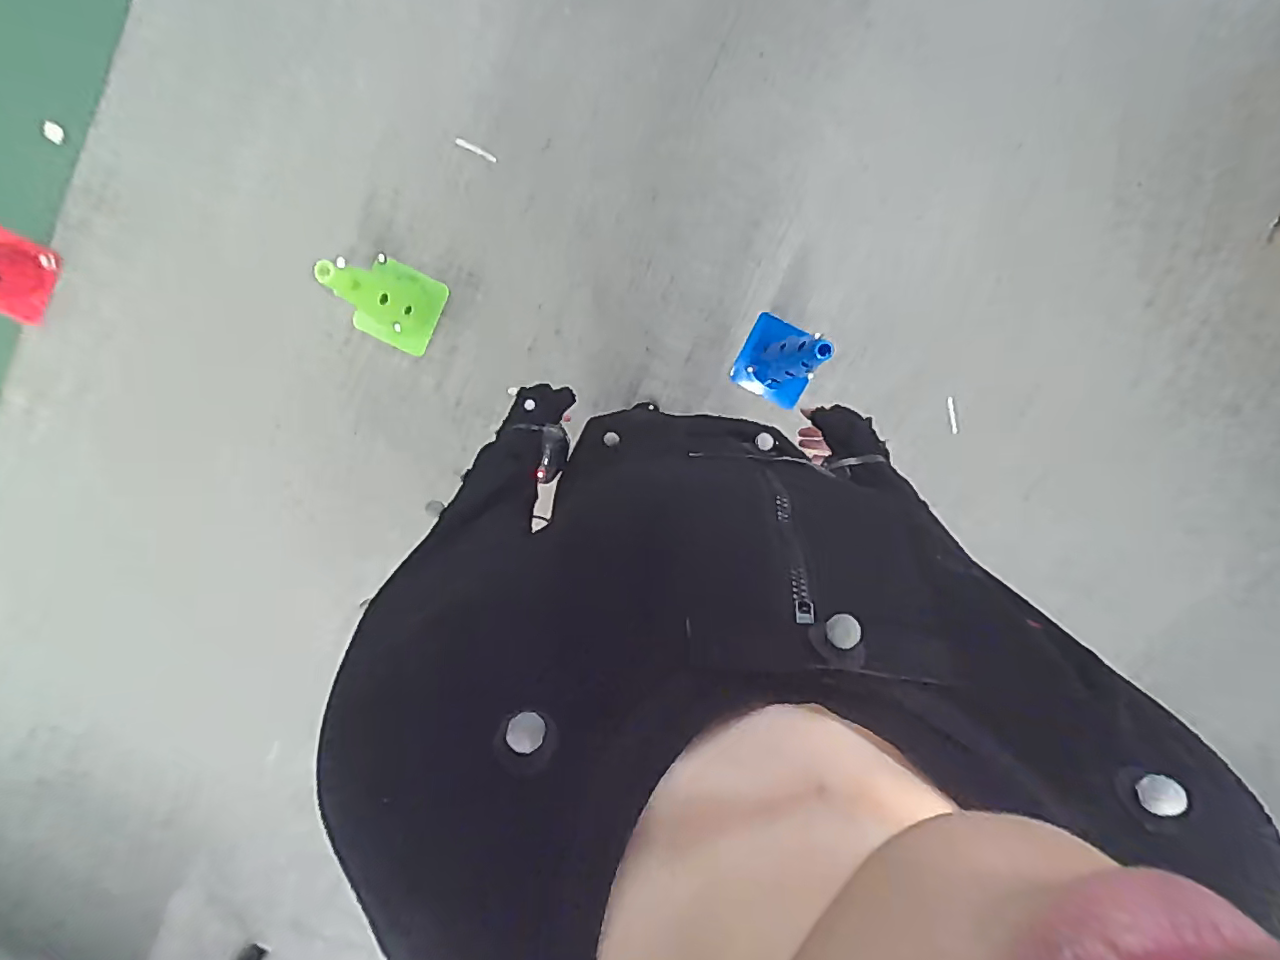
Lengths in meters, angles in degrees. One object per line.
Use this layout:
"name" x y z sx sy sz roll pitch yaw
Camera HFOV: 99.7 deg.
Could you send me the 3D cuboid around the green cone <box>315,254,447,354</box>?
"green cone" -0.613 -0.424 1.213 0.202 0.368 0.200 25 97 -4
